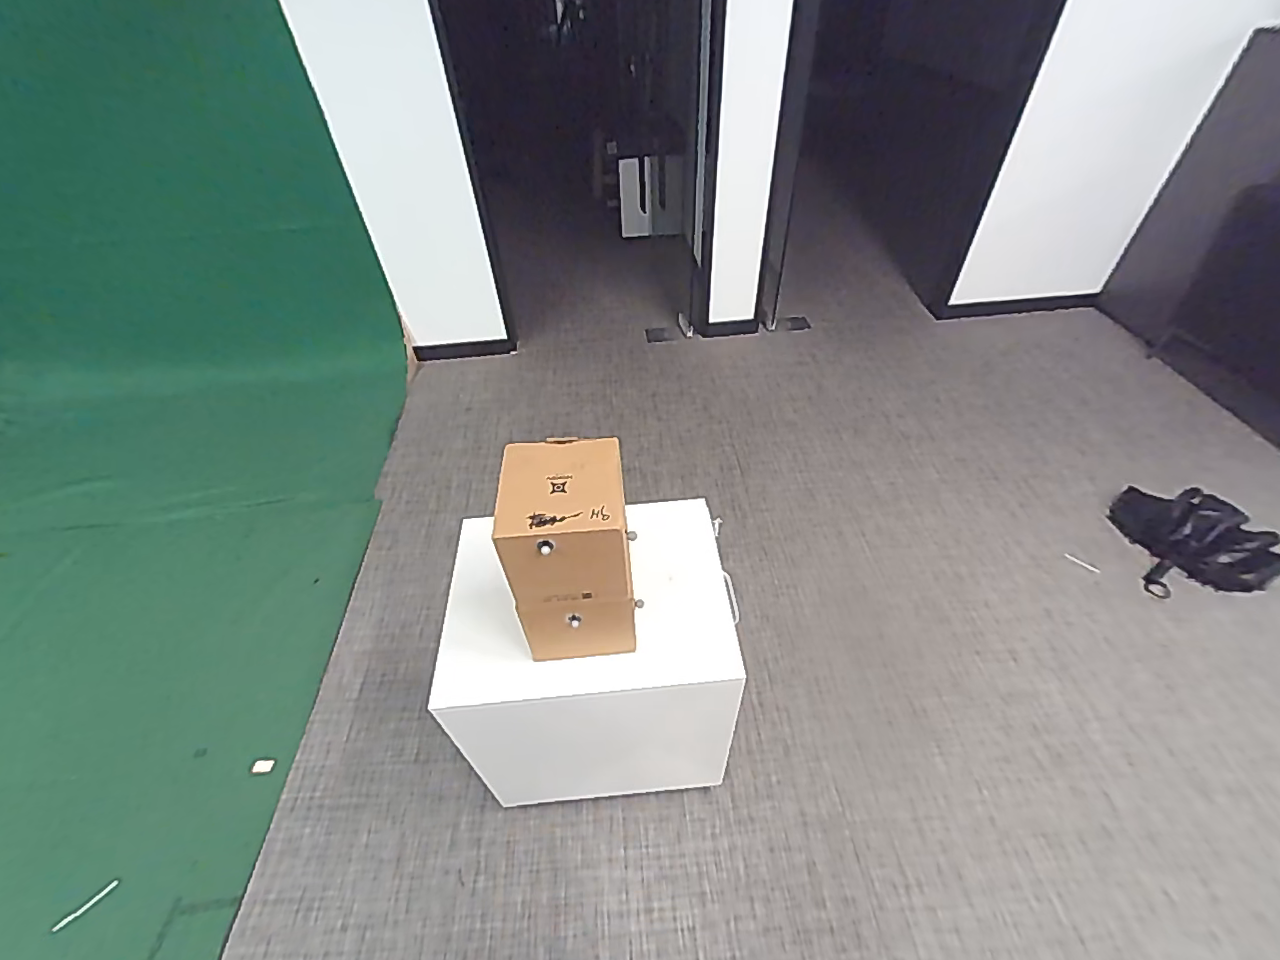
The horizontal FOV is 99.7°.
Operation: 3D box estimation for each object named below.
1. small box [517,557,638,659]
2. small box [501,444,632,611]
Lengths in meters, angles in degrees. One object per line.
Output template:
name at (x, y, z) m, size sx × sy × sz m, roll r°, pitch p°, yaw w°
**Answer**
small box at (-0.098, 0.186, 0.908) m, size 0.179 × 0.176 × 0.168 m, roll -4°, pitch 45°, yaw -3°
small box at (-0.102, 0.069, 0.797) m, size 0.168 × 0.176 × 0.179 m, roll -5°, pitch 46°, yaw -4°
